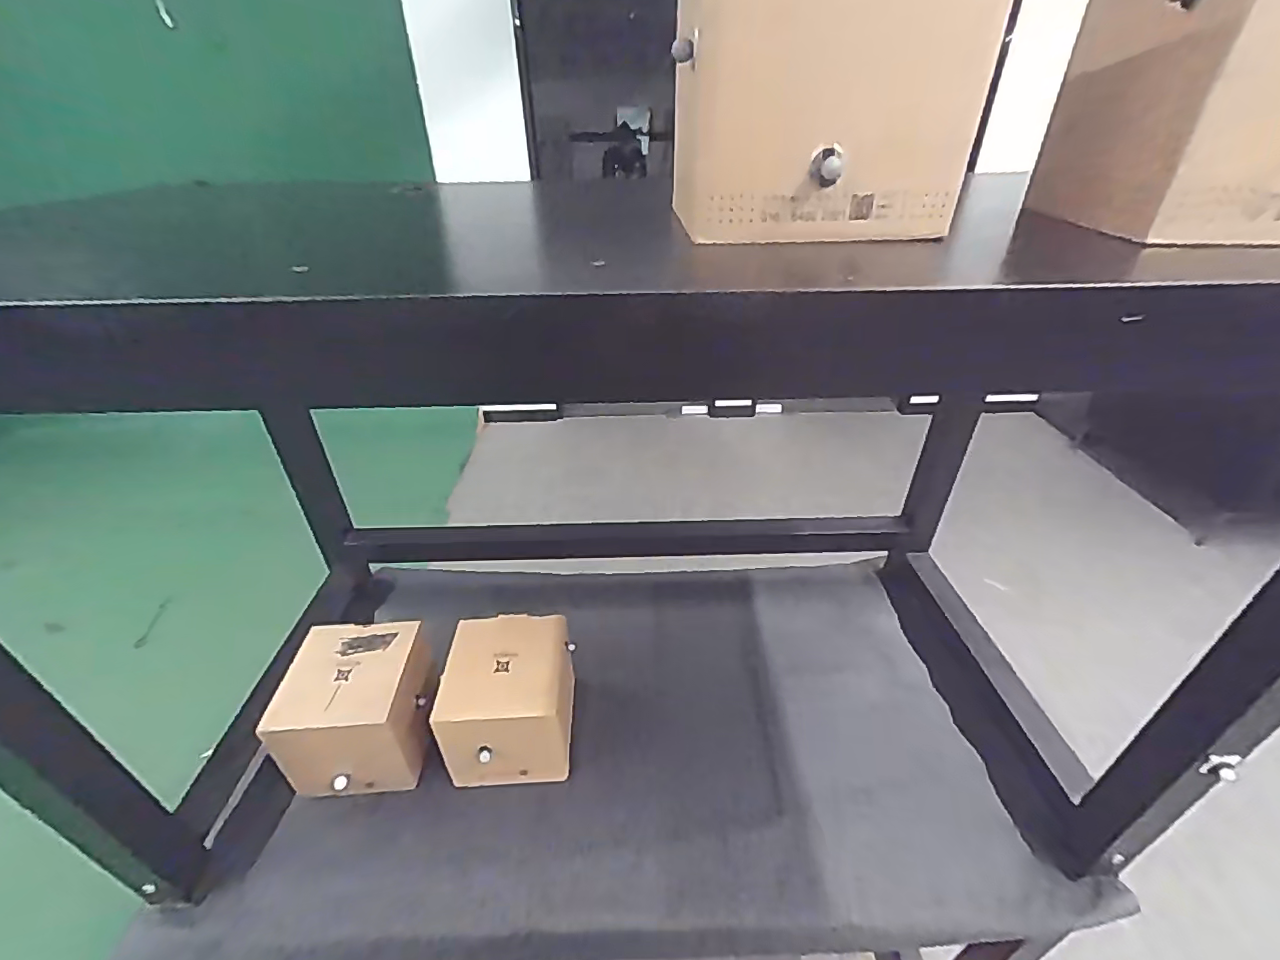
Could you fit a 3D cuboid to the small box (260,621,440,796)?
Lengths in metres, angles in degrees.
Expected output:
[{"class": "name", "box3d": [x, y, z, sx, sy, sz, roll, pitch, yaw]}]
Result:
[{"class": "small box", "box3d": [-0.410, 0.336, 0.804, 0.168, 0.176, 0.179, -3, 33, -2]}]

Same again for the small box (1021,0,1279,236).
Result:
[{"class": "small box", "box3d": [0.383, -0.252, 0.336, 0.168, 0.176, 0.179, 4, 33, 8]}]
